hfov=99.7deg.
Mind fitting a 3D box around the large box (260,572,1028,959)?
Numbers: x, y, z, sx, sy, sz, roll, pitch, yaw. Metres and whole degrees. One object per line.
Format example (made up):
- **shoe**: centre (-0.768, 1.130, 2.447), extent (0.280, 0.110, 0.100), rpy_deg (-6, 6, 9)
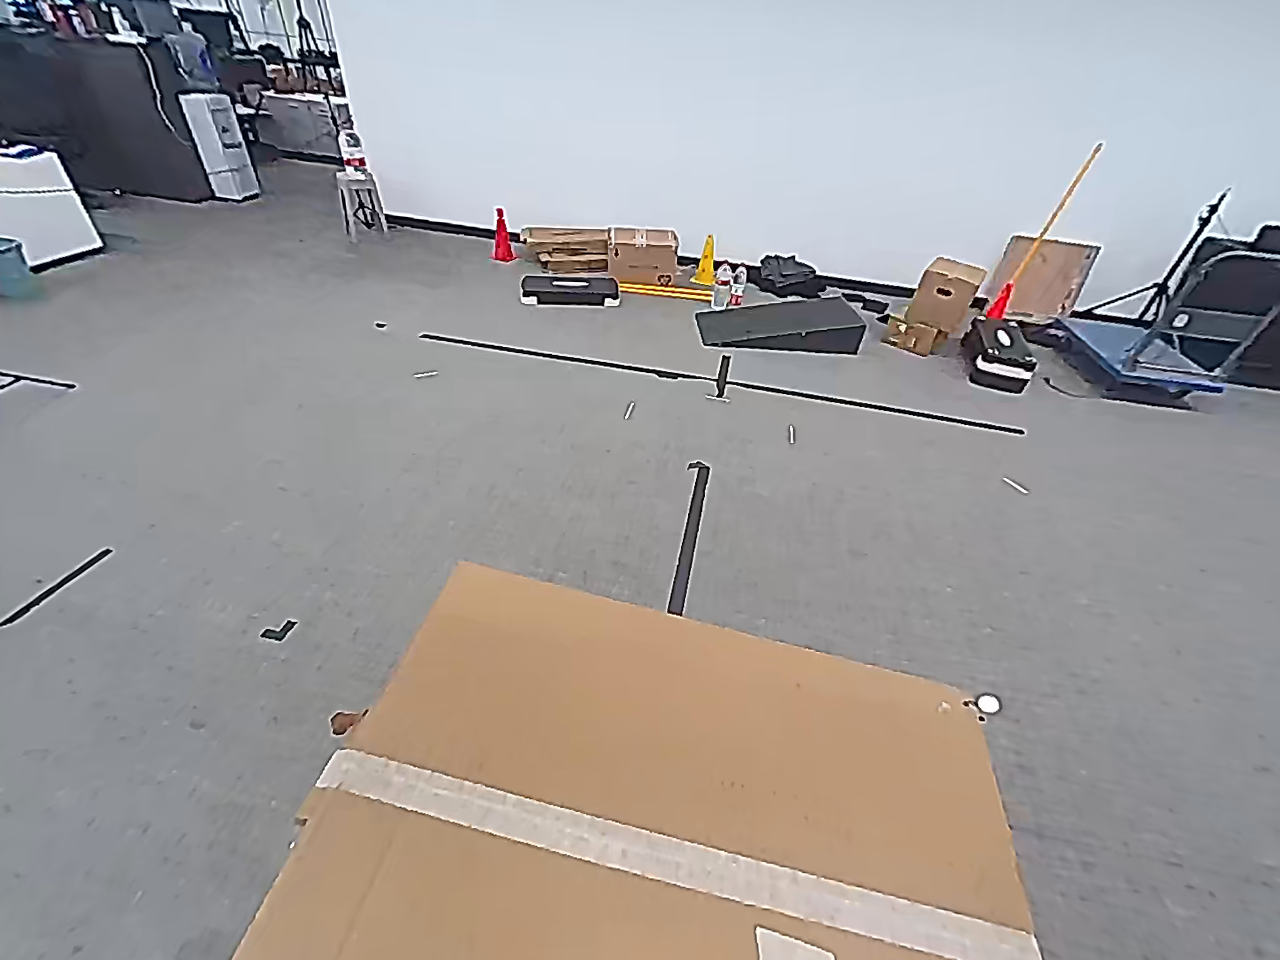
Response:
- **large box**: centre (0.002, 0.323, 0.416), extent (0.408, 0.320, 0.320), rpy_deg (15, 45, 2)
